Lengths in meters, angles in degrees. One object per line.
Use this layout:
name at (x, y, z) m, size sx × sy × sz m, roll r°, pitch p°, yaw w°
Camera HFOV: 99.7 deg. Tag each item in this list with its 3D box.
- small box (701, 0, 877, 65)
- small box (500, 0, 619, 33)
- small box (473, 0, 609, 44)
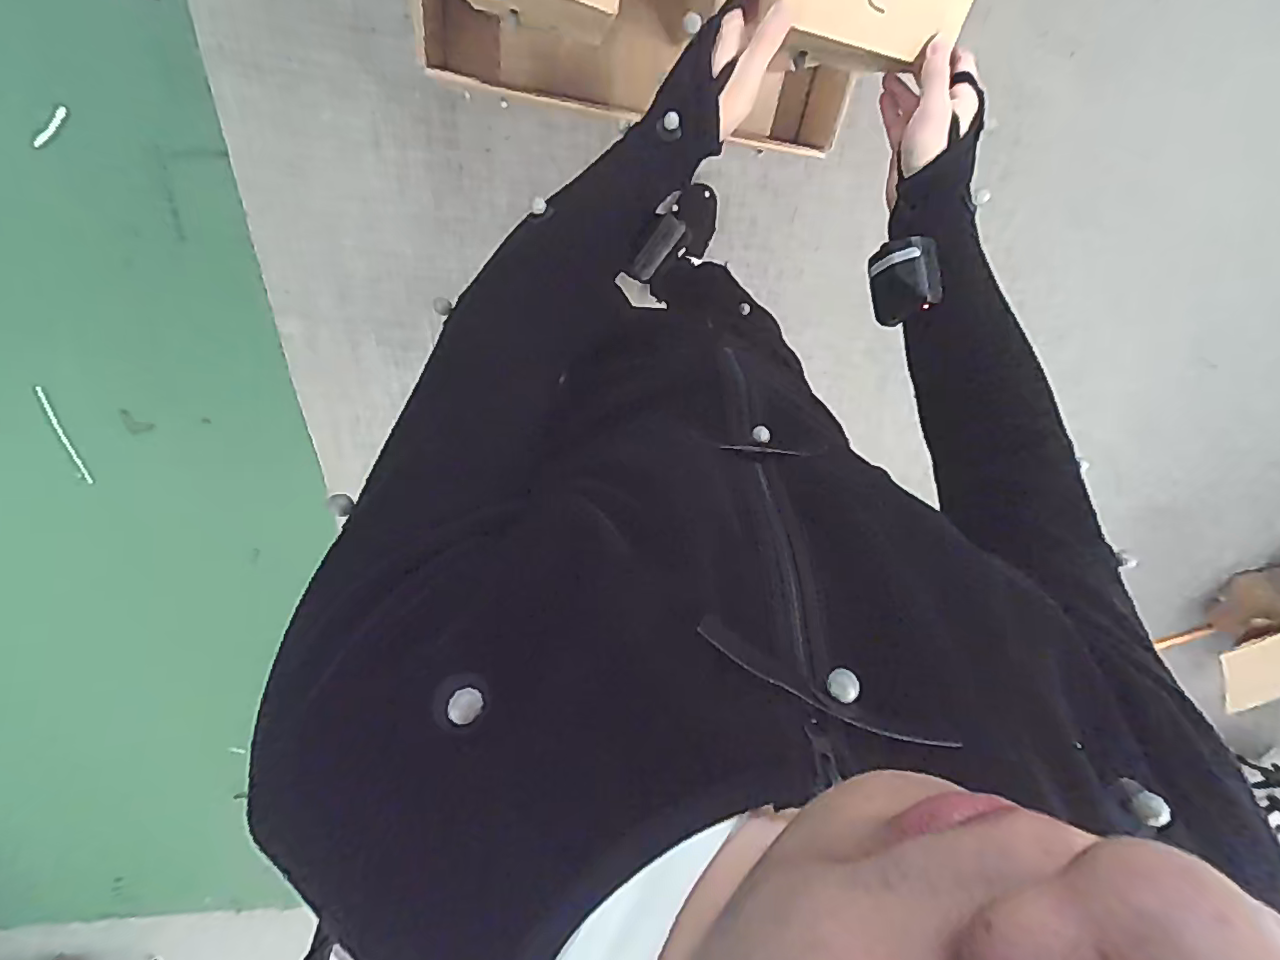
small box at (0.176, -0.602, 0.621) m, size 0.168 × 0.176 × 0.179 m, roll 5°, pitch 123°, yaw -11°
small box at (-0.088, -0.509, 0.454) m, size 0.179 × 0.176 × 0.168 m, roll 10°, pitch 123°, yaw -15°
small box at (-0.100, -0.606, 0.587) m, size 0.168 × 0.176 × 0.179 m, roll 8°, pitch 123°, yaw -12°
